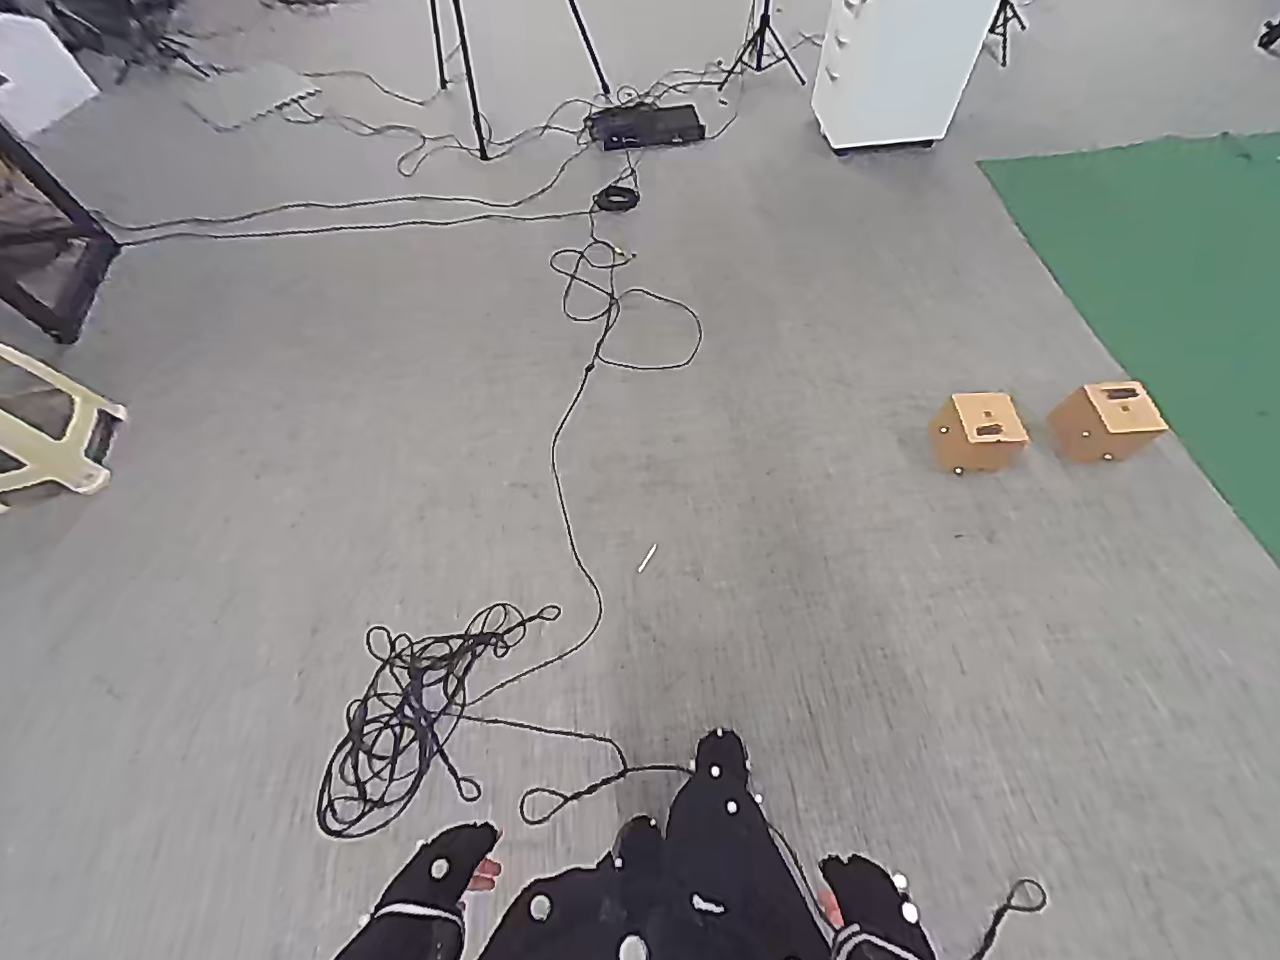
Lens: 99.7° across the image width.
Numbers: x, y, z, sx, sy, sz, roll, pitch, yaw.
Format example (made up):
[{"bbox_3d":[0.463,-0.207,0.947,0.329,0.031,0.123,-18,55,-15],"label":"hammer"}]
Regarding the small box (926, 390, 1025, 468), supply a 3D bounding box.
[{"bbox_3d":[0.980,-0.144,1.595,0.168,0.176,0.179,-2,59,1],"label":"small box"}]
